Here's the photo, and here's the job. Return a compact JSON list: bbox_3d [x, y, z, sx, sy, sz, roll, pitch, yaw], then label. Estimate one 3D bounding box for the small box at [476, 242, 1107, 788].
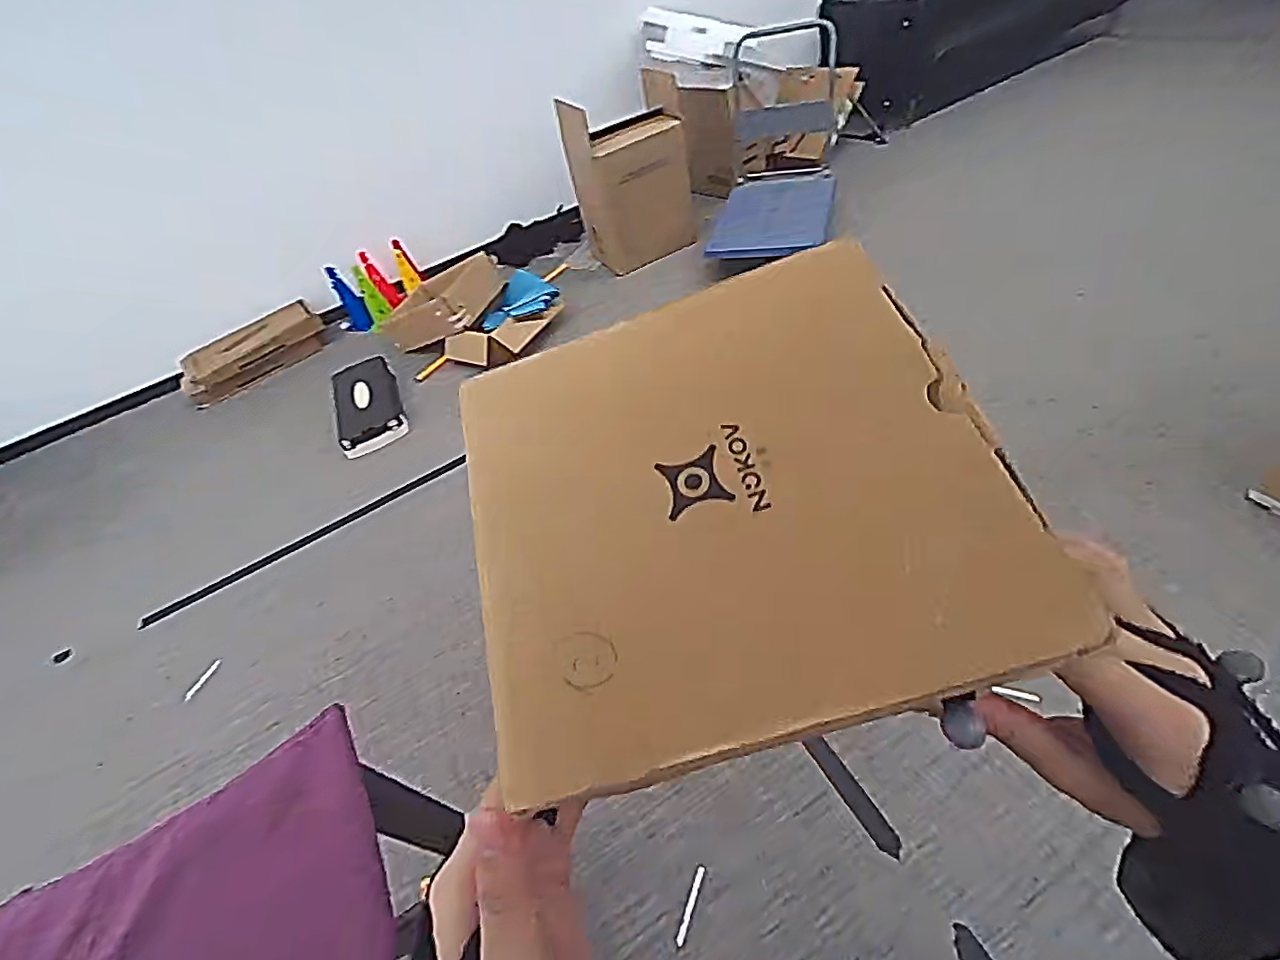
[{"bbox_3d":[0.047,0.033,0.259,0.179,0.176,0.168,-19,61,6],"label":"small box"}]
